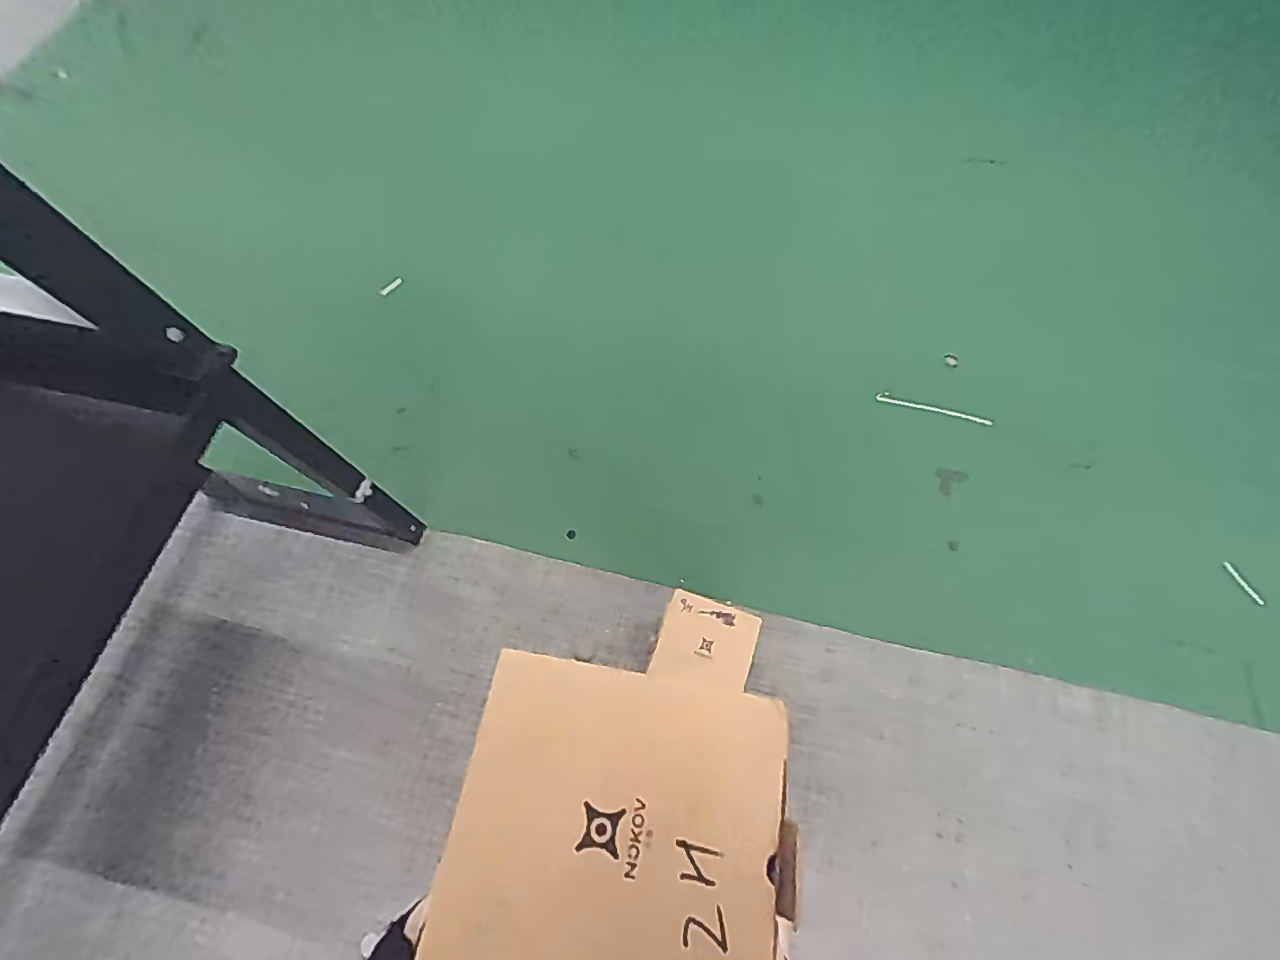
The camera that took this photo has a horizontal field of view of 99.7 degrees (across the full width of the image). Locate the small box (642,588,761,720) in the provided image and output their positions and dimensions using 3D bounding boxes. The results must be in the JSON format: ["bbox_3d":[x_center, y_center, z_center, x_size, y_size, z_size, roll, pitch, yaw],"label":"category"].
[{"bbox_3d":[0.110,0.323,1.000,0.168,0.176,0.179,18,69,8],"label":"small box"}]
